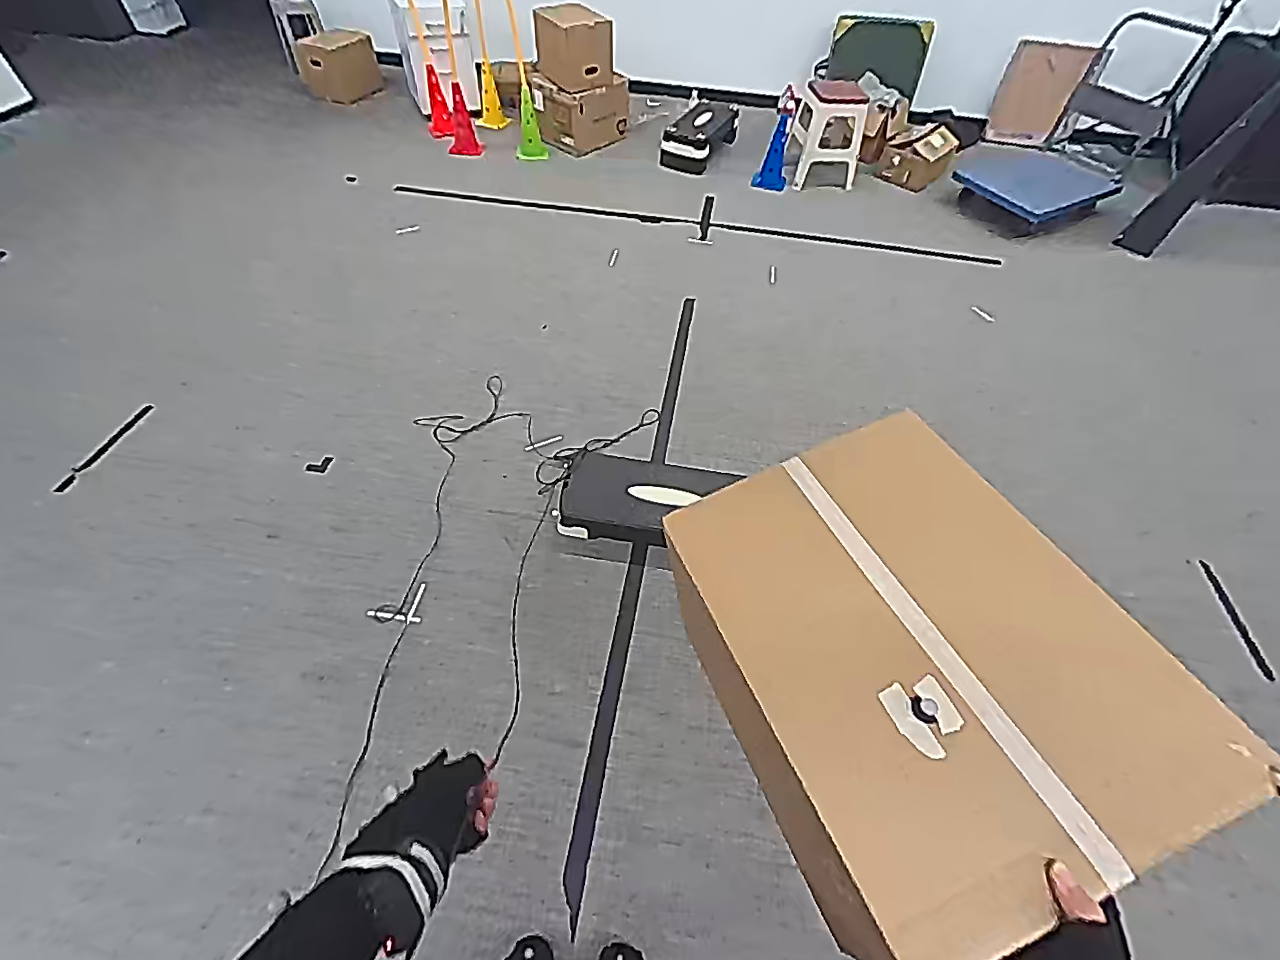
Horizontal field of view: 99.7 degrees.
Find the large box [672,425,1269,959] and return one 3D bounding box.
[{"bbox_3d":[0.265,0.217,0.609,0.320,0.320,0.408,-23,53,-6],"label":"large box"}]
